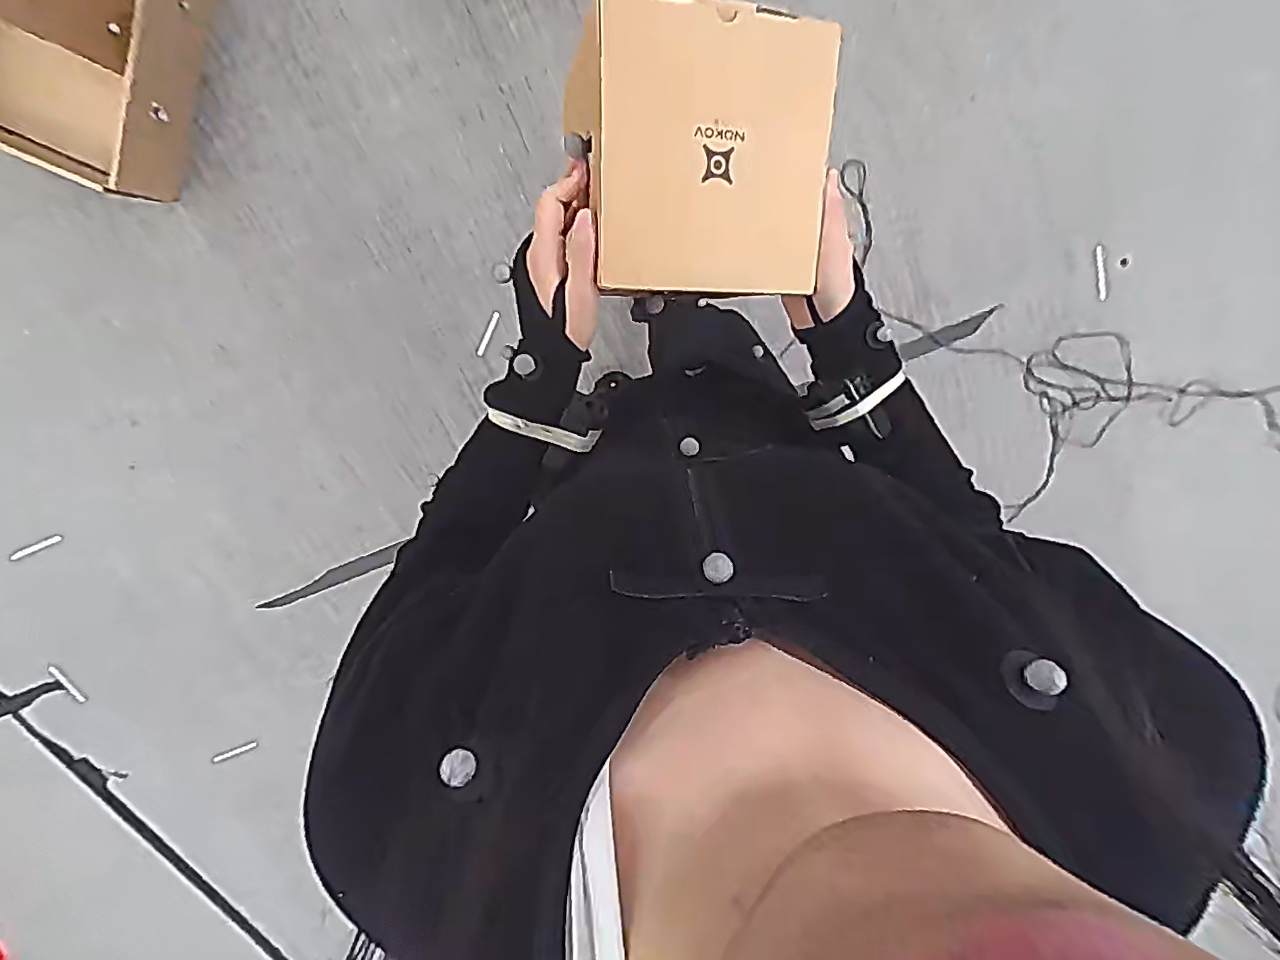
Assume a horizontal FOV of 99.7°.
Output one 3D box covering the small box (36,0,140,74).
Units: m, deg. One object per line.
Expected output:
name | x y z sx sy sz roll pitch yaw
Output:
small box | -1.095 -0.901 0.999 0.179 0.176 0.168 22 106 -12

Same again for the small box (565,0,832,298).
small box | 0.030 -0.245 0.444 0.168 0.176 0.179 -4 106 -14

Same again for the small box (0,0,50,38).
small box | -1.087 -0.845 0.848 0.179 0.176 0.168 18 105 -9
